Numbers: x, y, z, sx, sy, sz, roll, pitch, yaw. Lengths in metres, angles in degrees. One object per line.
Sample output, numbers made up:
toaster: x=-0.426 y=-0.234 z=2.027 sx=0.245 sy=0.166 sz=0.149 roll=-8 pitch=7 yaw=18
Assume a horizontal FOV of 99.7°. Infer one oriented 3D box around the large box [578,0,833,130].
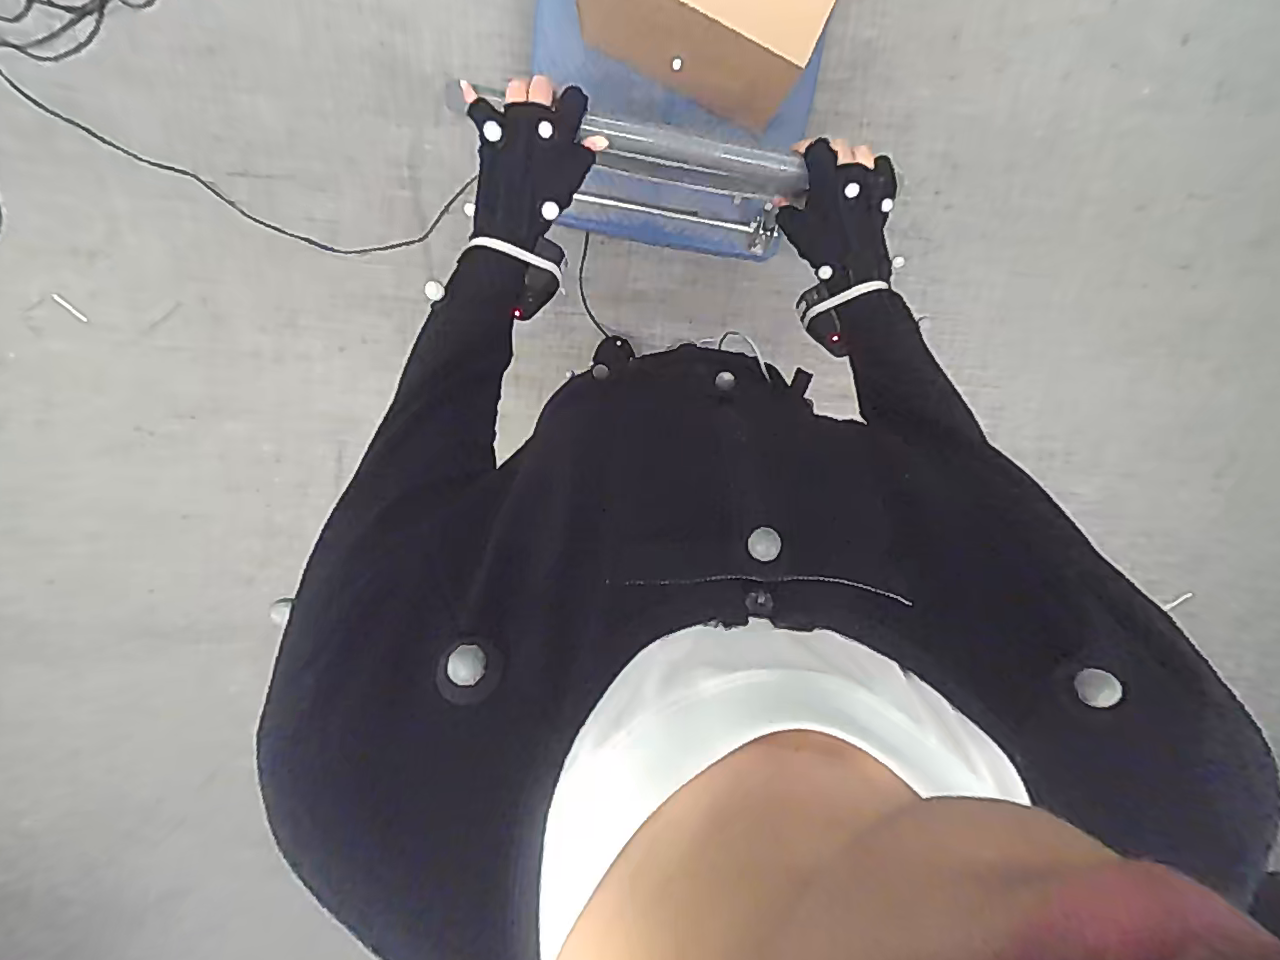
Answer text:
large box: x=0.132 y=-0.890 z=0.927 sx=0.408 sy=0.320 sz=0.320 roll=24 pitch=104 yaw=-7
